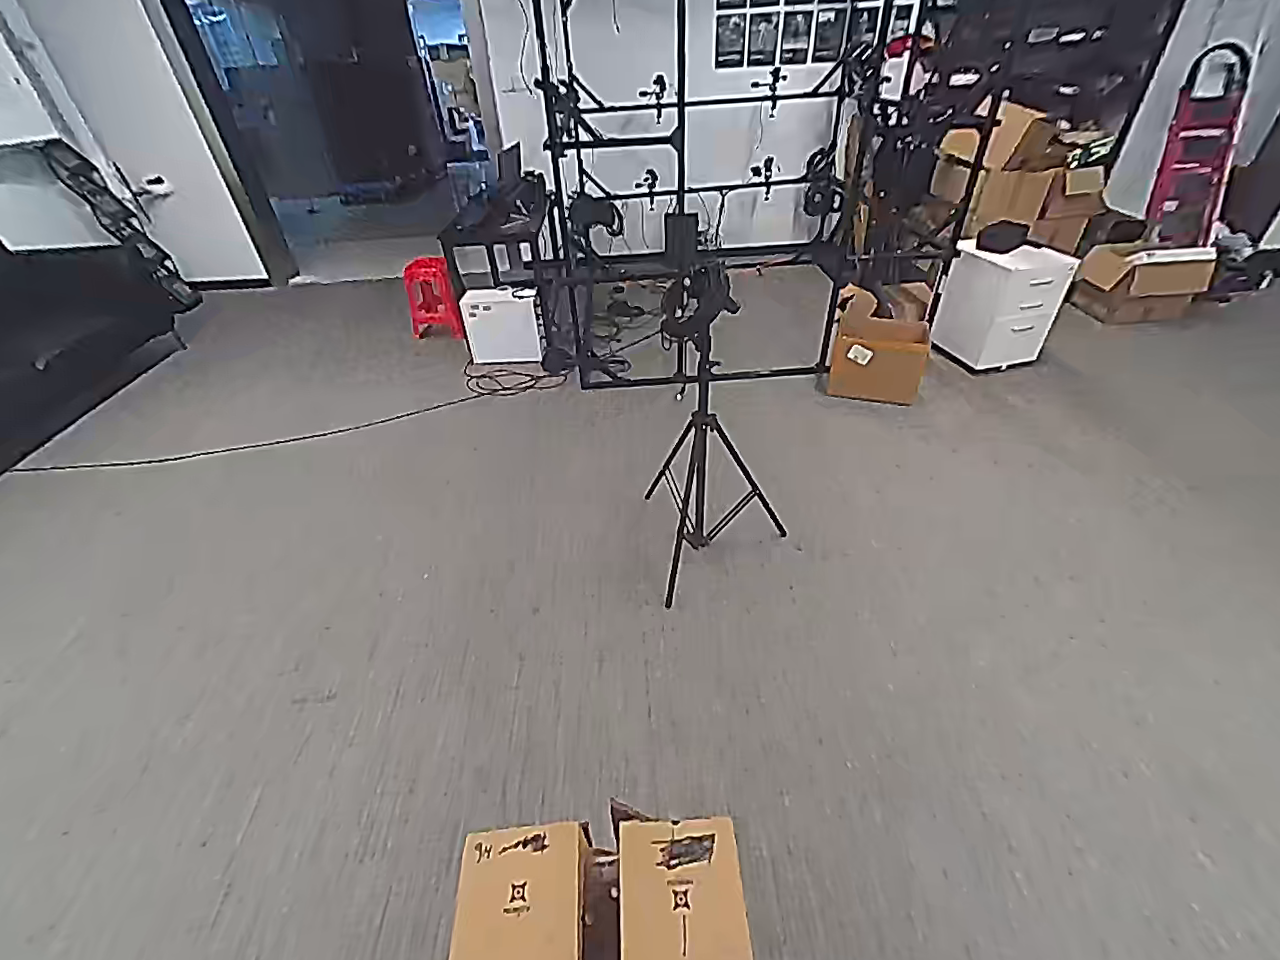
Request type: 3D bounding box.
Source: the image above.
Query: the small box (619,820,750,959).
[{"bbox_3d":[0.054,0.613,0.769,0.168,0.176,0.179,-2,40,-1],"label":"small box"}]
